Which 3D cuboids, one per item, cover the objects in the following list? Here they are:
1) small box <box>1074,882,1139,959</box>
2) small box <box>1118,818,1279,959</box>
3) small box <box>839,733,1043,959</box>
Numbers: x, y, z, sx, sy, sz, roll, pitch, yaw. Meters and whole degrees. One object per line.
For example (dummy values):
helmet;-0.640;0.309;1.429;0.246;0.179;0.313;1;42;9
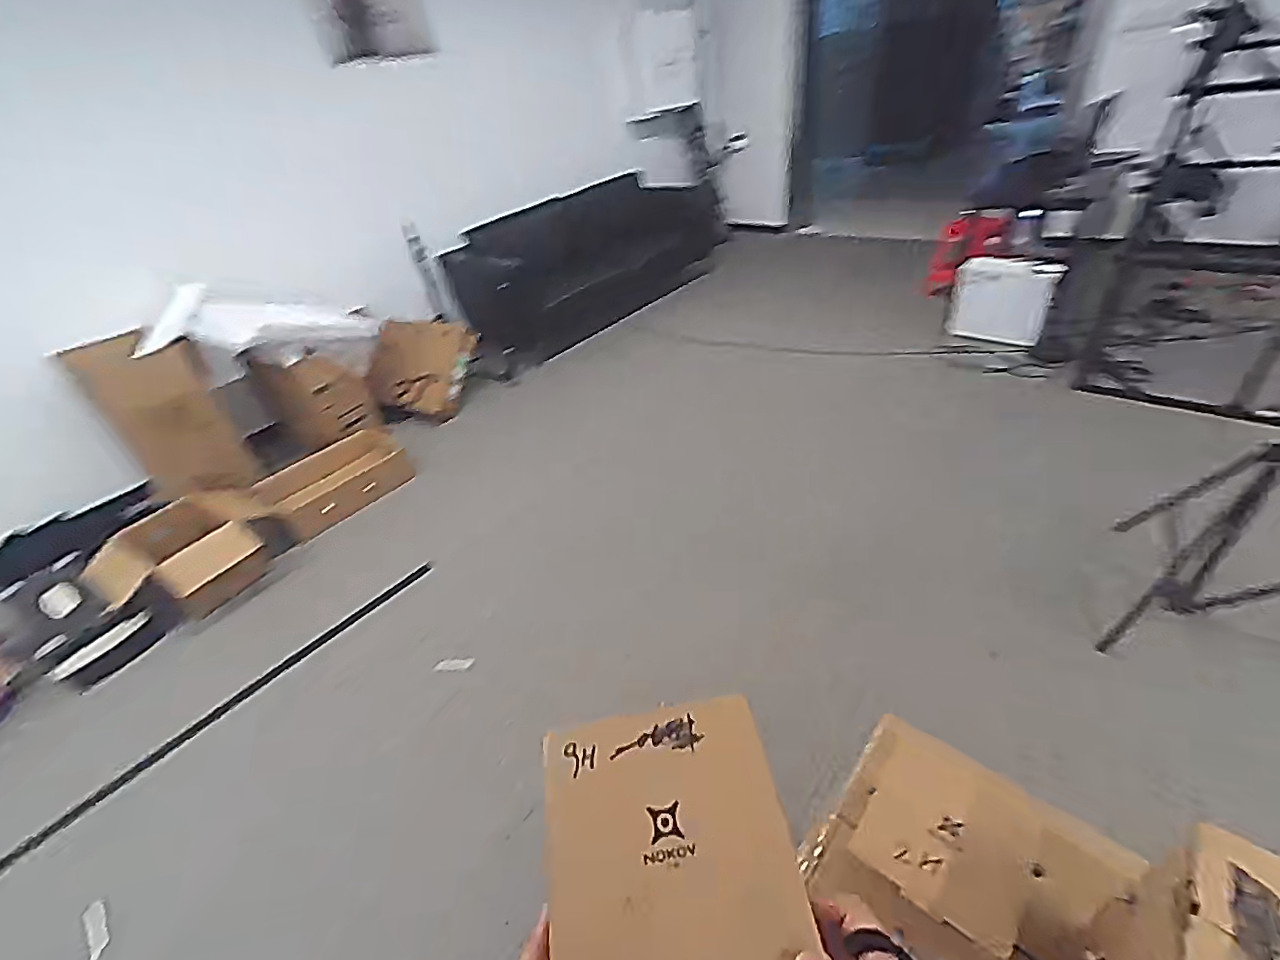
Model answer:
small box;0.535;0.559;0.528;0.168;0.176;0.179;22;48;39
small box;0.511;0.429;0.430;0.179;0.176;0.168;23;48;38
small box;0.366;0.472;0.680;0.168;0.176;0.179;23;48;35
